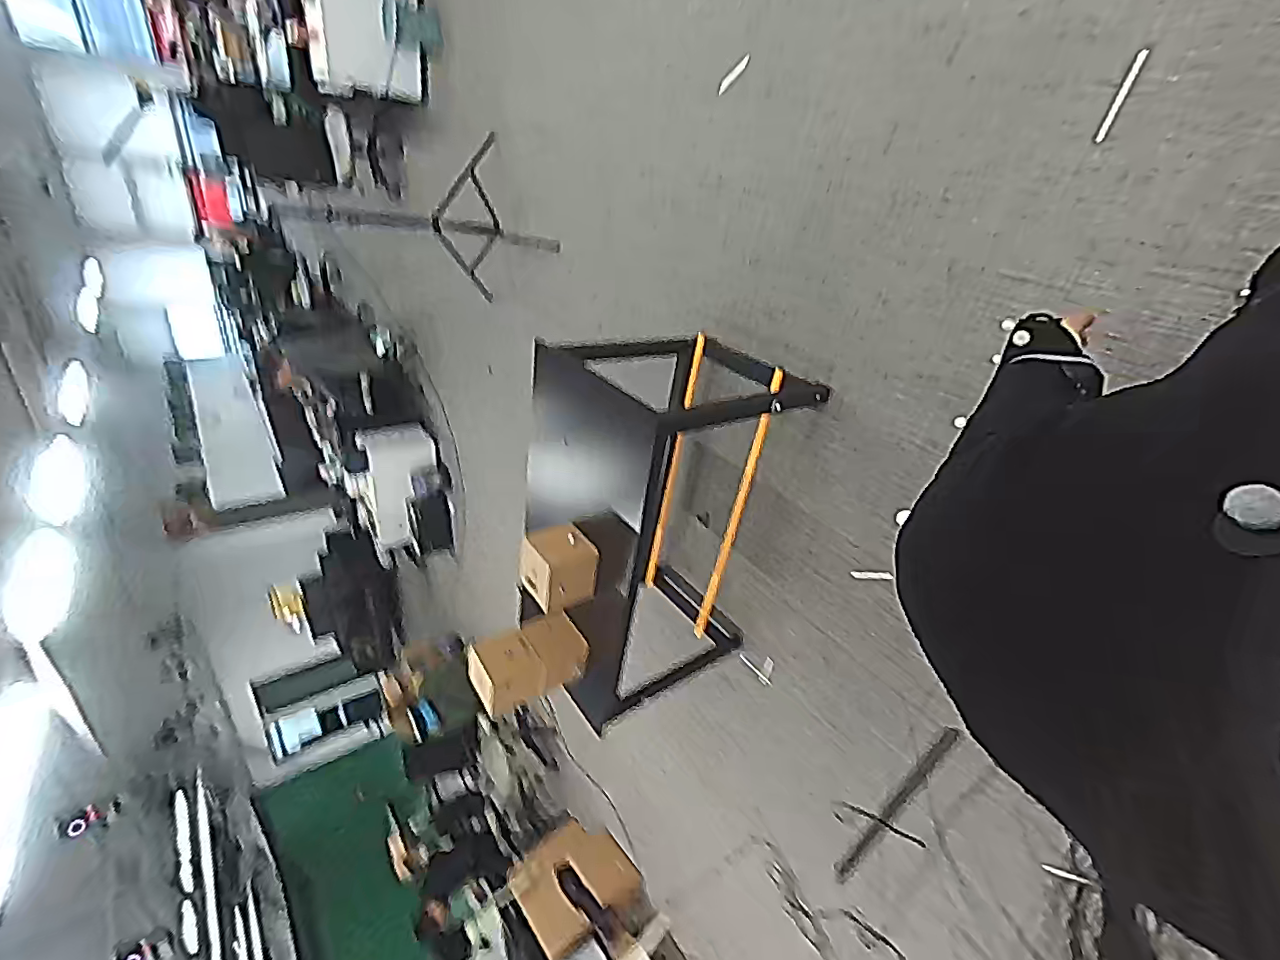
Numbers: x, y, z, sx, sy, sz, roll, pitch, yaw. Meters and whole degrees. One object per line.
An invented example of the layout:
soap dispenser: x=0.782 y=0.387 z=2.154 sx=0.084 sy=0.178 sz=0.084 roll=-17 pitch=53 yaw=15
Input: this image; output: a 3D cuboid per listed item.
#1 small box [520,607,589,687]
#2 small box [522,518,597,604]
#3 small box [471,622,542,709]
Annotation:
small box: x=-0.295 y=0.553 z=1.826 sx=0.179 sy=0.176 sz=0.168 roll=42 pitch=134 yaw=37
small box: x=-0.245 y=0.241 z=1.645 sx=0.168 sy=0.176 sz=0.179 roll=38 pitch=130 yaw=40
small box: x=-0.430 y=0.589 z=1.737 sx=0.168 sy=0.176 sz=0.179 roll=43 pitch=135 yaw=38
